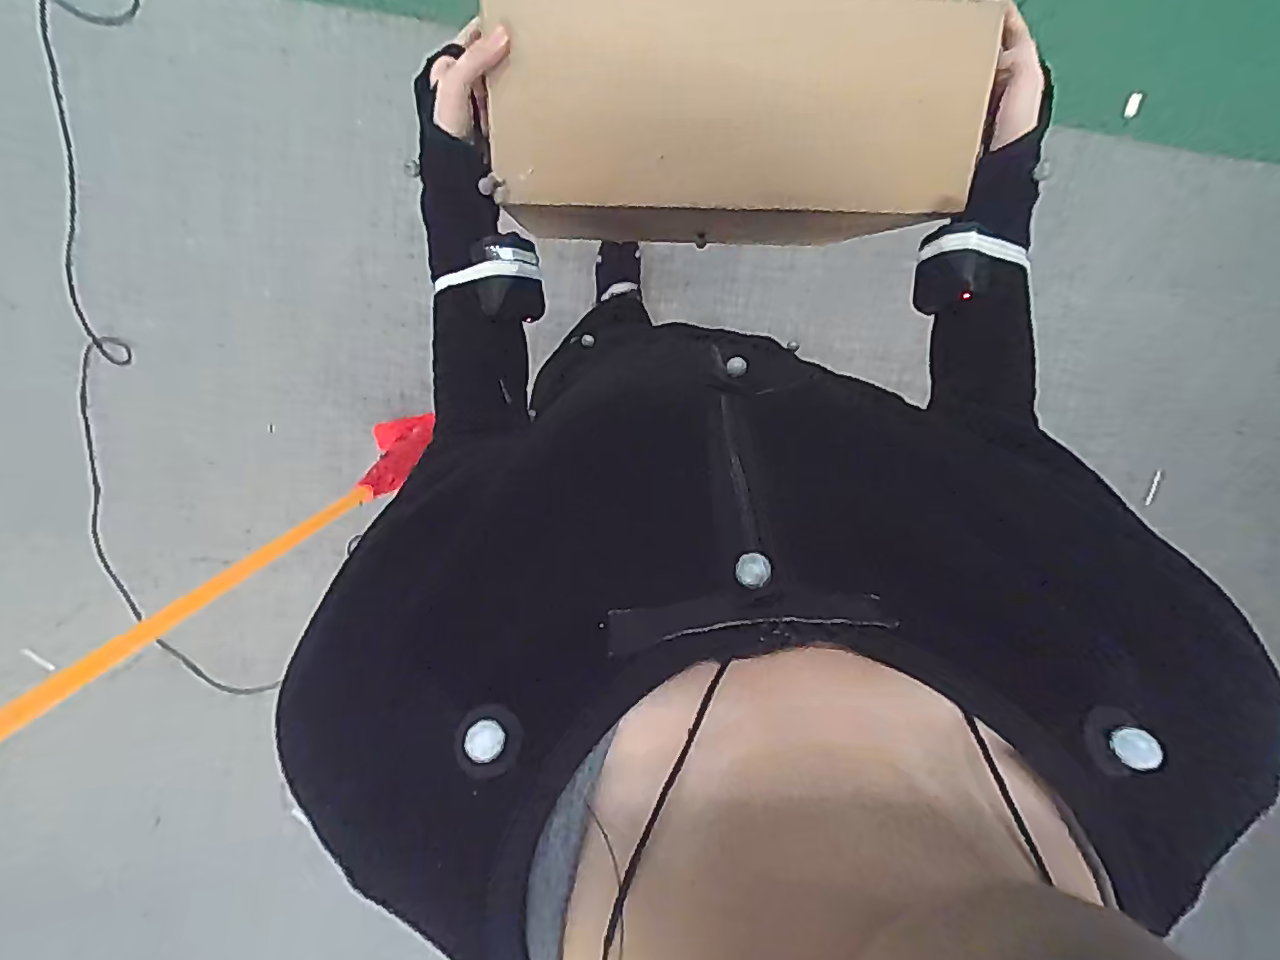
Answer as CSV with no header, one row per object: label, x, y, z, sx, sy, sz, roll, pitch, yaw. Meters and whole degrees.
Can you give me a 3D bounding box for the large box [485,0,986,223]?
large box,0.072,-0.444,0.552,0.408,0.320,0.320,0,109,-3
